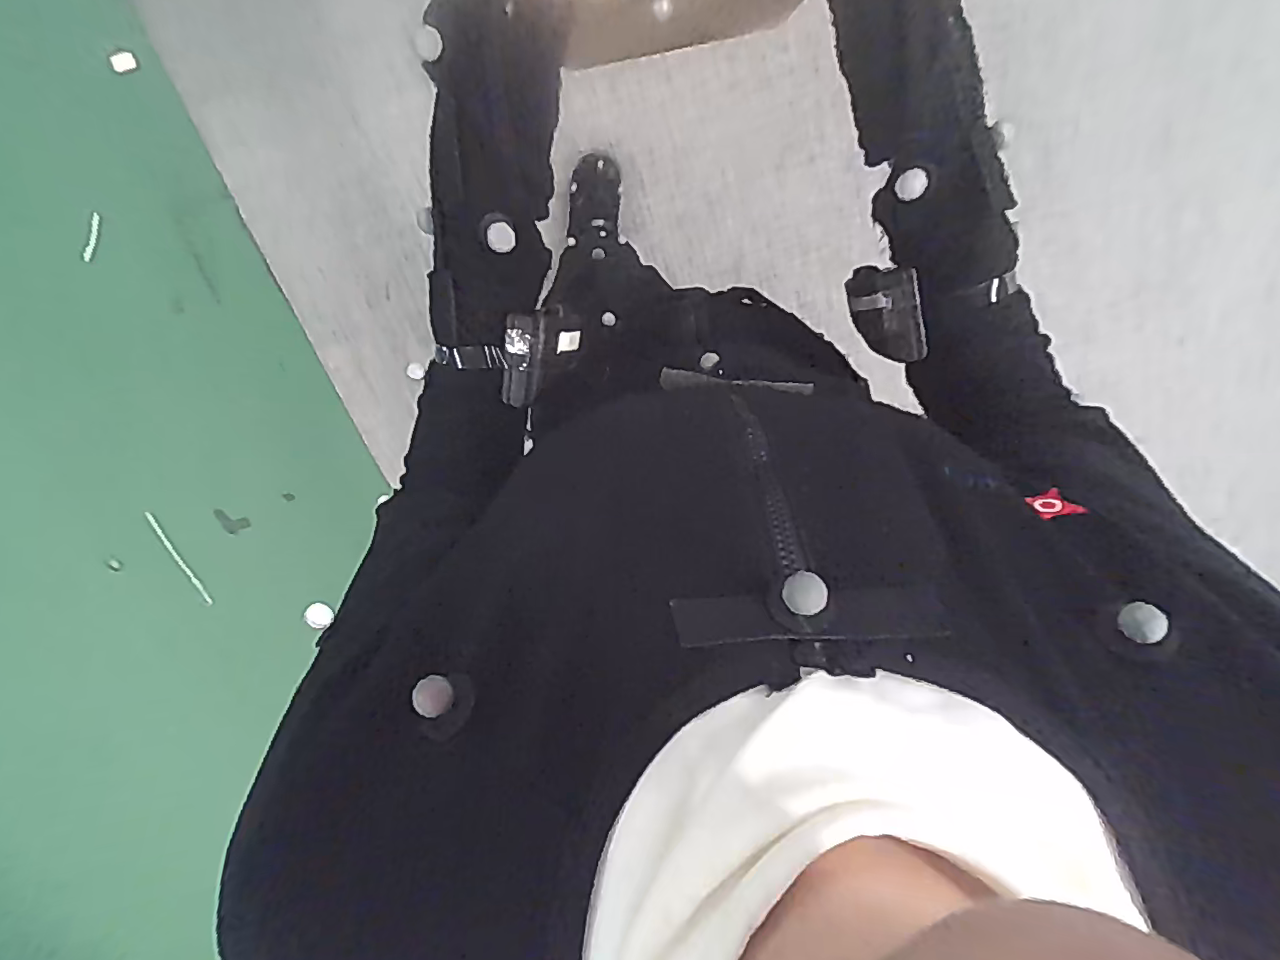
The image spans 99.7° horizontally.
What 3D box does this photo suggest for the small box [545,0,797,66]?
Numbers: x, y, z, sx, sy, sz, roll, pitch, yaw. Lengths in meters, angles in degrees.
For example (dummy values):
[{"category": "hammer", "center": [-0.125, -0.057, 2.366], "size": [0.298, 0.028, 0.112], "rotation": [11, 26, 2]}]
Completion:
[{"category": "small box", "center": [0.012, -0.361, 0.291], "size": [0.168, 0.176, 0.179], "rotation": [-9, 117, 4]}]
